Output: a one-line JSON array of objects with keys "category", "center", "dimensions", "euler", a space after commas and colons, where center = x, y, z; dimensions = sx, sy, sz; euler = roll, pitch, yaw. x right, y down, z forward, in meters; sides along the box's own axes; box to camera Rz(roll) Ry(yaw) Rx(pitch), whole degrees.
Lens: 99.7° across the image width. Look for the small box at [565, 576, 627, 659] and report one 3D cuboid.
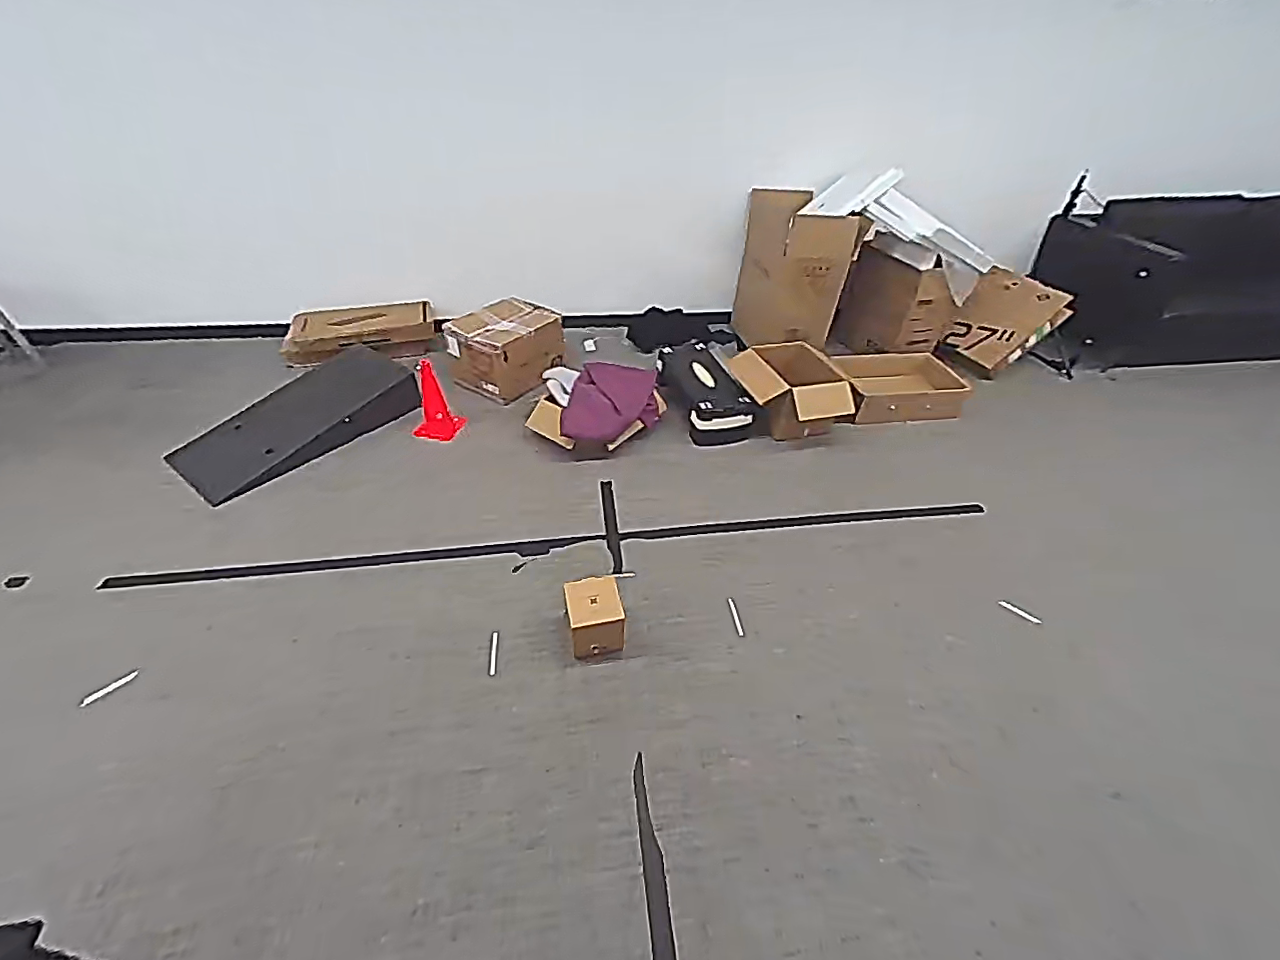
[{"category": "small box", "center": [-0.142, 0.438, 1.720], "dimensions": [0.168, 0.176, 0.179], "euler": [-9, 43, -12]}]
